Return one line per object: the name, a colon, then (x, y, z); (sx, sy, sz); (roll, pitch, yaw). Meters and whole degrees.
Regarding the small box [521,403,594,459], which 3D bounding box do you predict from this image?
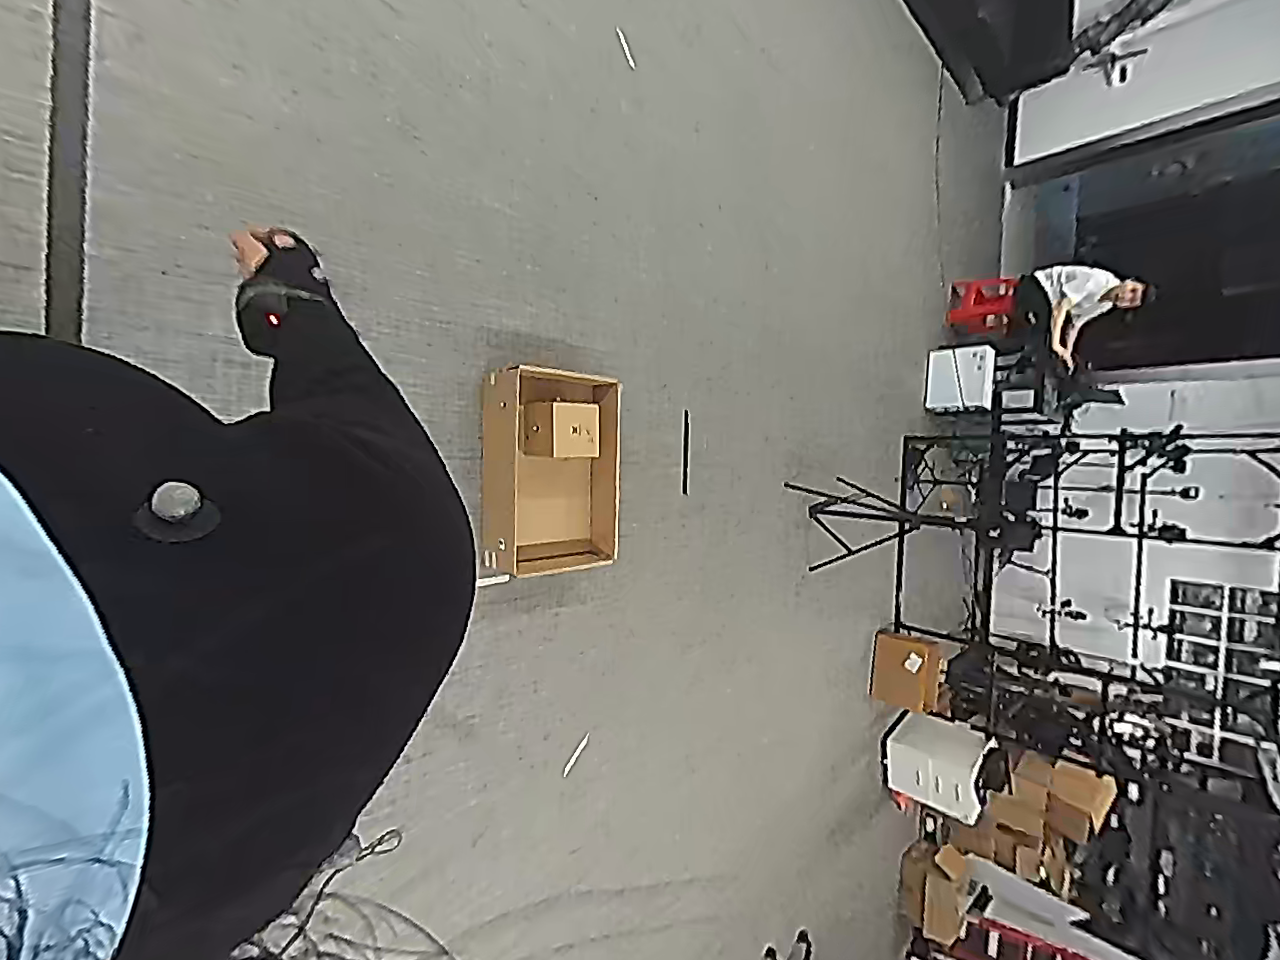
small box: (-0.263, -0.151, 1.705); (0.179, 0.176, 0.168); (-3, 96, -44)
